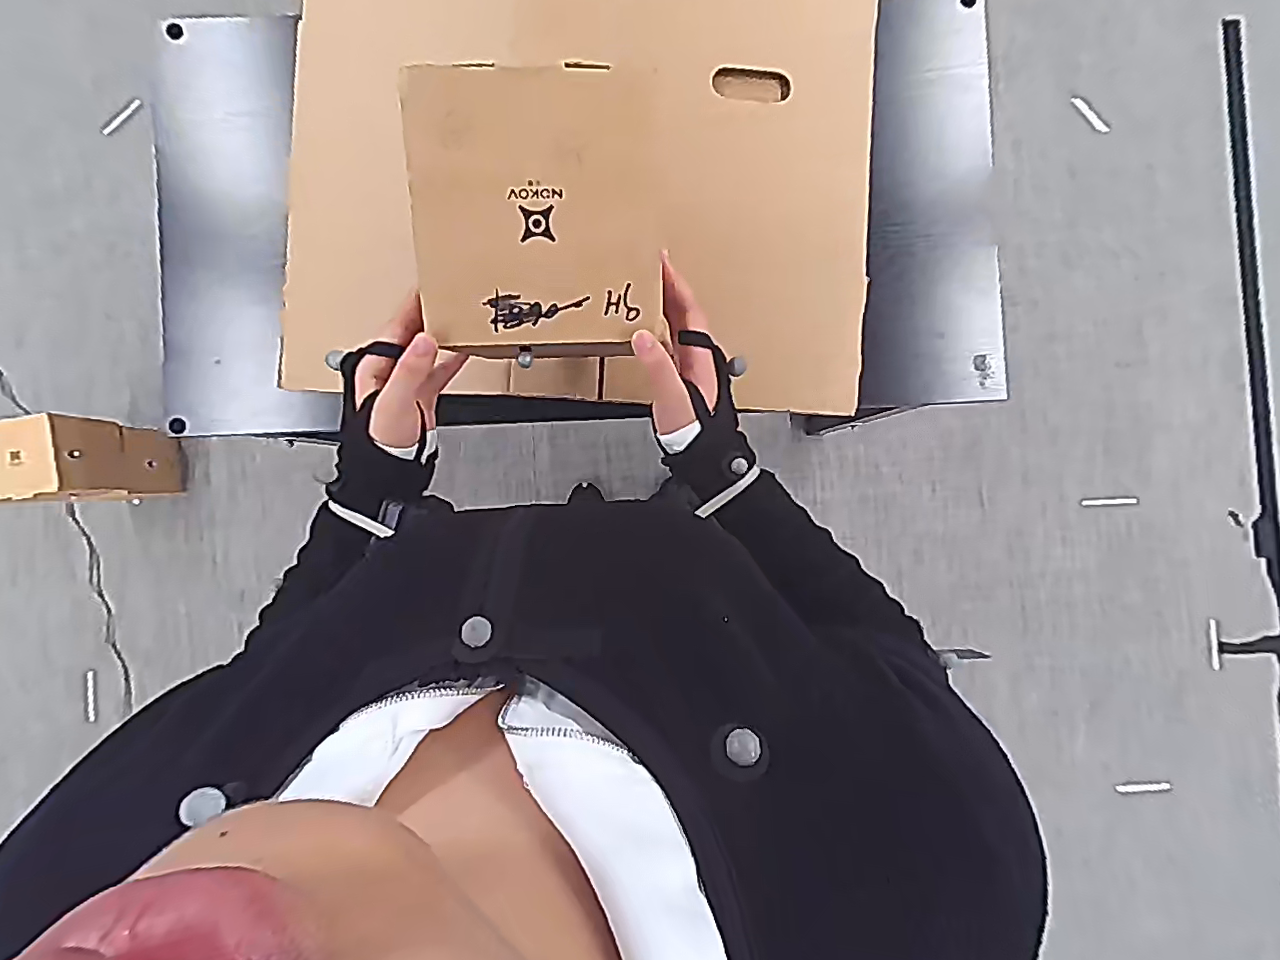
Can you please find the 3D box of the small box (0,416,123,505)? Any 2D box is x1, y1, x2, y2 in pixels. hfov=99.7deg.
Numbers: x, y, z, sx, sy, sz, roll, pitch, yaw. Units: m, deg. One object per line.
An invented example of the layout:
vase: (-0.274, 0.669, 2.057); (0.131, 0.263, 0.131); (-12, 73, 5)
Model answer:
small box: (-1.354, -0.041, 1.248); (0.168, 0.176, 0.179); (-10, 88, -2)

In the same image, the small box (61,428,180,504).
small box: (-1.353, -0.033, 1.410); (0.168, 0.176, 0.179); (-7, 90, -1)

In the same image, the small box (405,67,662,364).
small box: (-0.073, -0.190, 0.439); (0.168, 0.176, 0.179); (-2, 99, -3)
